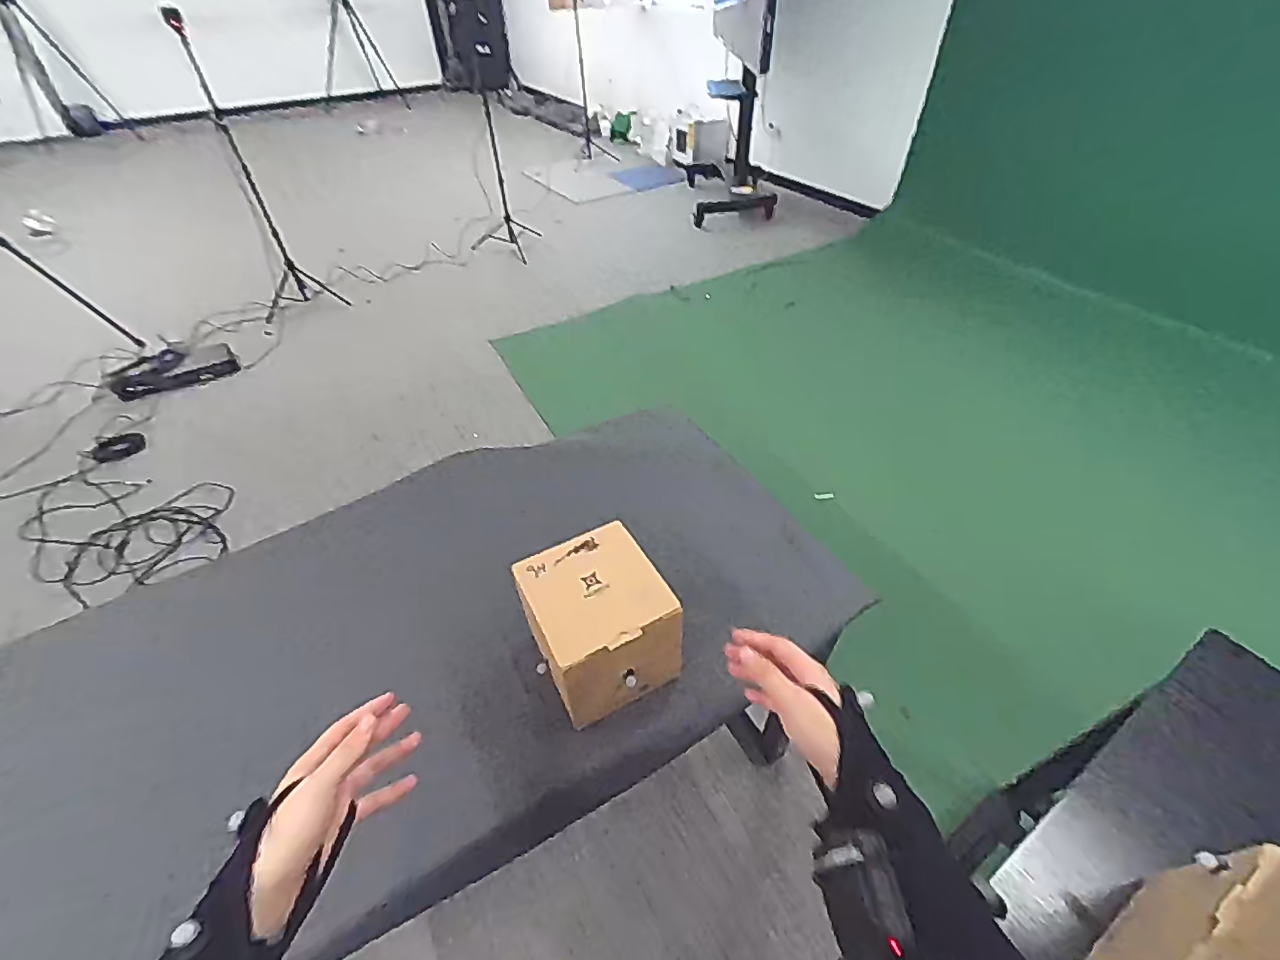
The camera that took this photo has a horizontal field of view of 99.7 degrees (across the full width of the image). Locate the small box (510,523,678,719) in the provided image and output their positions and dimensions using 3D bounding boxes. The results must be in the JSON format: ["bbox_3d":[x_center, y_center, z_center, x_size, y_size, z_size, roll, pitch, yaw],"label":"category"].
[{"bbox_3d":[-0.057,0.198,0.740,0.168,0.176,0.179,-23,47,-19],"label":"small box"}]
